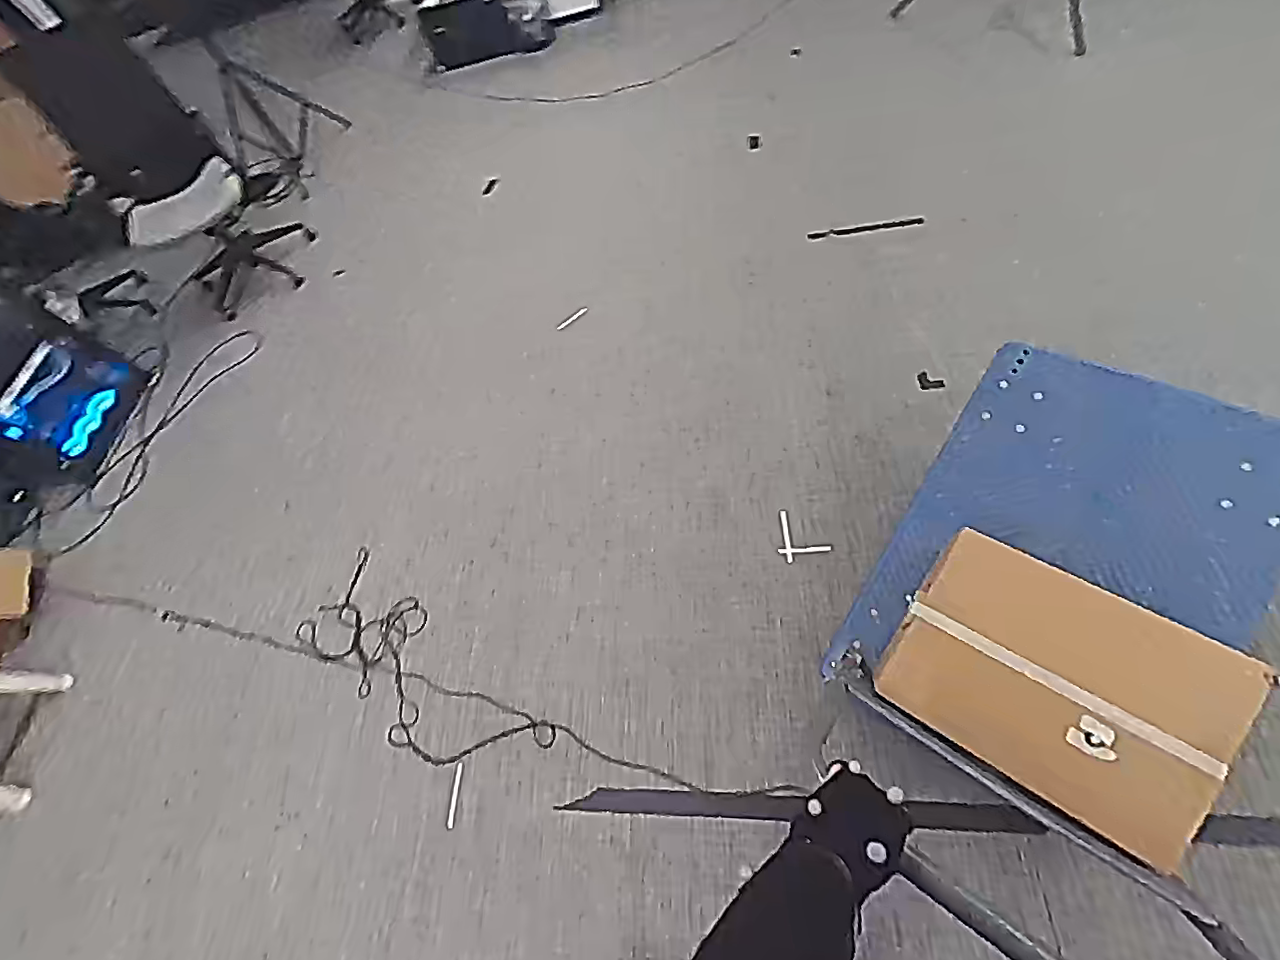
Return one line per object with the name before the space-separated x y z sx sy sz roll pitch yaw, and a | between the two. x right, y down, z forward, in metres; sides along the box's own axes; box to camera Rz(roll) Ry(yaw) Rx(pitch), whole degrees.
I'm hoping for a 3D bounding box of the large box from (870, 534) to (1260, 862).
large box | 0.670 0.337 0.951 0.408 0.320 0.320 29 89 25
